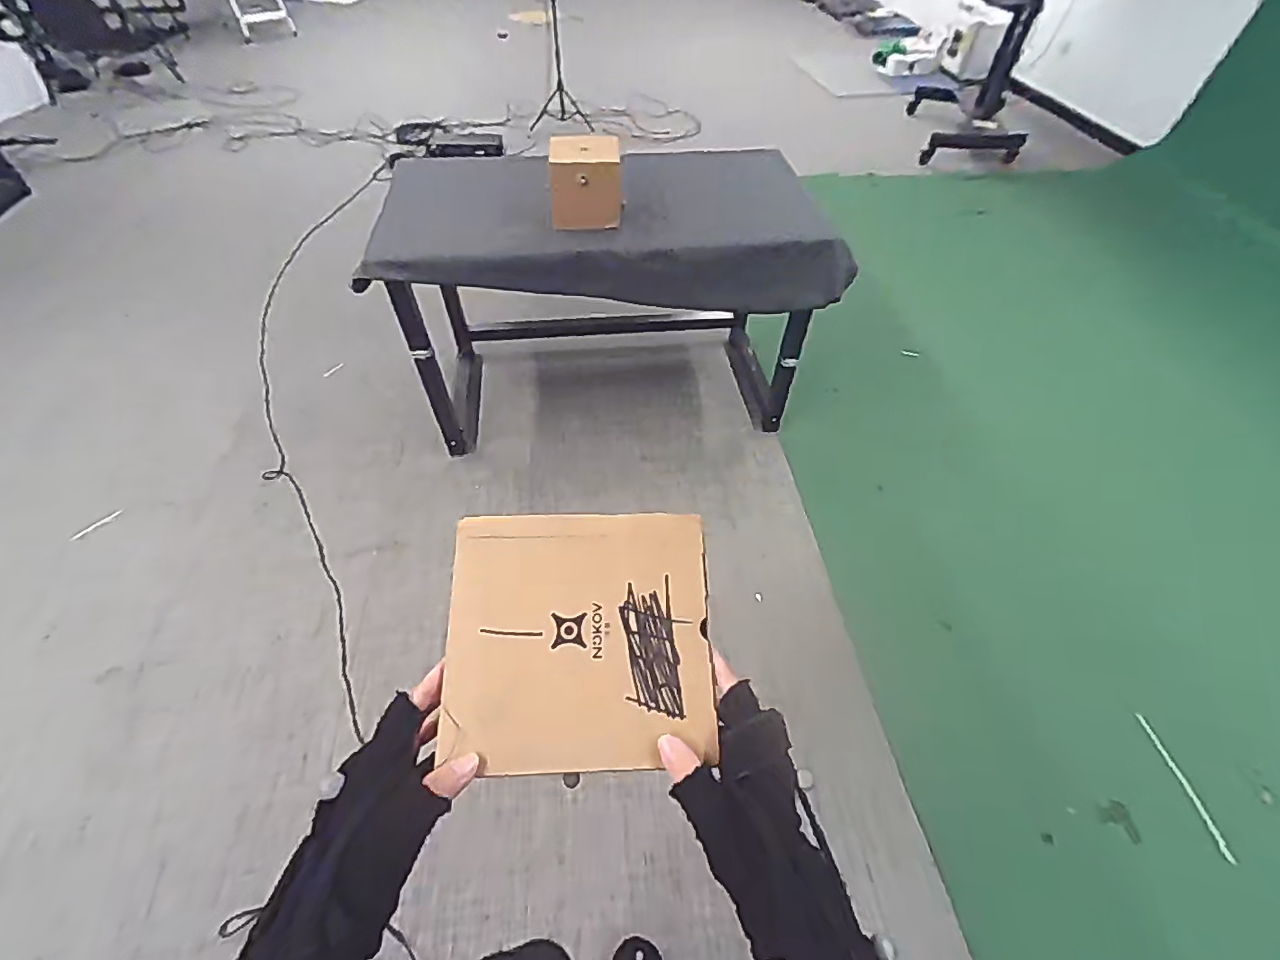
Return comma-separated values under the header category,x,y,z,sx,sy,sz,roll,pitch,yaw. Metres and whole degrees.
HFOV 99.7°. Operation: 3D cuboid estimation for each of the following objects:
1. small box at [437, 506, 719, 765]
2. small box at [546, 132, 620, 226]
category,x,y,z,sx,sy,sz,roll,pitch,yaw
small box,-0.044,0.125,0.435,0.179,0.176,0.168,-2,68,-3
small box,-0.146,-0.779,1.406,0.179,0.176,0.168,-4,52,-4
